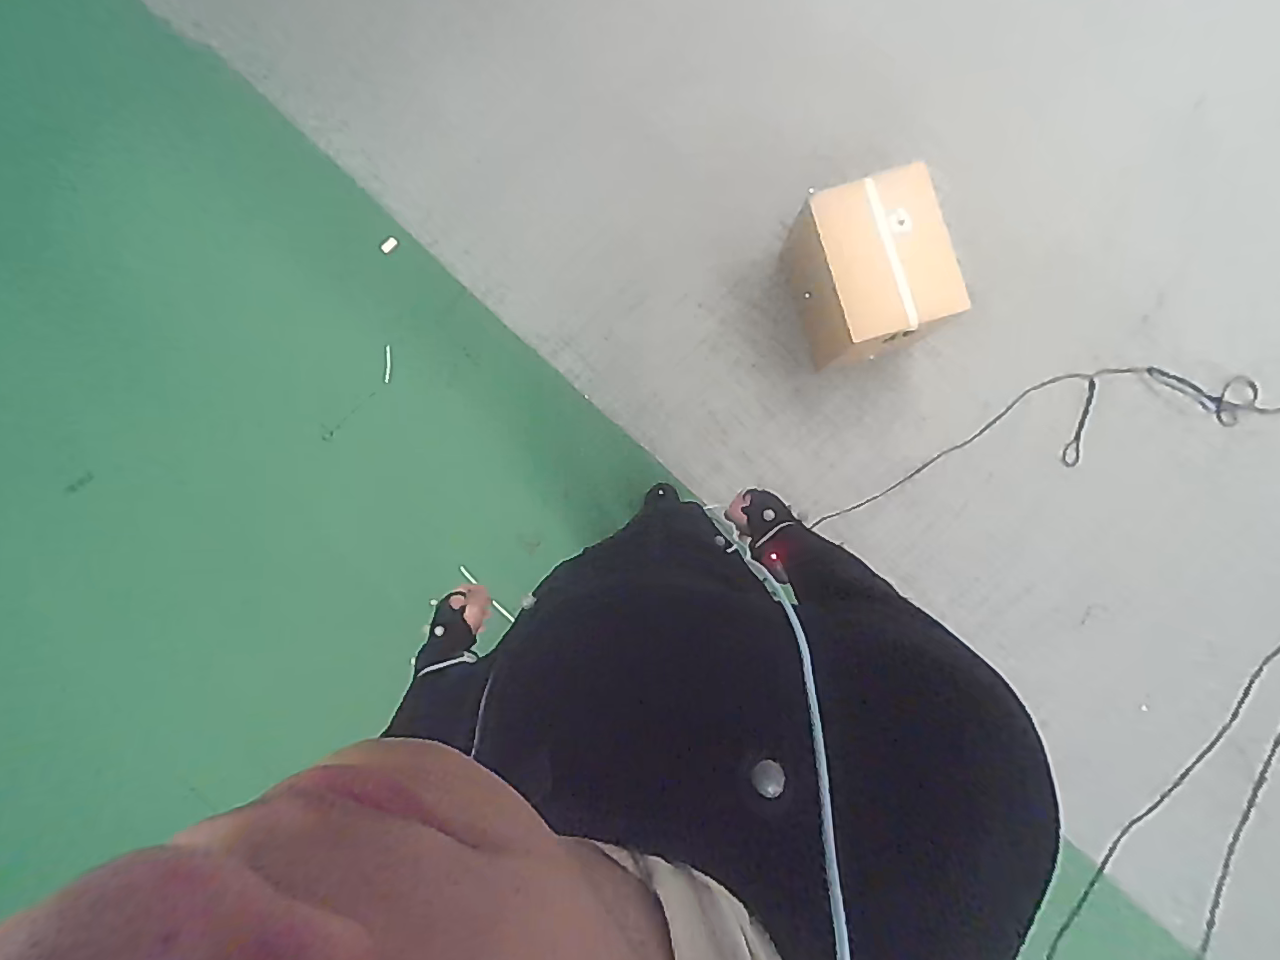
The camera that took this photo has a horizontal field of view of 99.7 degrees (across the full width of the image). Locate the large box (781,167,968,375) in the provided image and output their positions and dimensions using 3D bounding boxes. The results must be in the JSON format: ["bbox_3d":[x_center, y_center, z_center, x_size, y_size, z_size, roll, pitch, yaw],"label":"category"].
[{"bbox_3d":[0.625,-0.557,1.511,0.320,0.320,0.408,-16,86,1],"label":"large box"}]
